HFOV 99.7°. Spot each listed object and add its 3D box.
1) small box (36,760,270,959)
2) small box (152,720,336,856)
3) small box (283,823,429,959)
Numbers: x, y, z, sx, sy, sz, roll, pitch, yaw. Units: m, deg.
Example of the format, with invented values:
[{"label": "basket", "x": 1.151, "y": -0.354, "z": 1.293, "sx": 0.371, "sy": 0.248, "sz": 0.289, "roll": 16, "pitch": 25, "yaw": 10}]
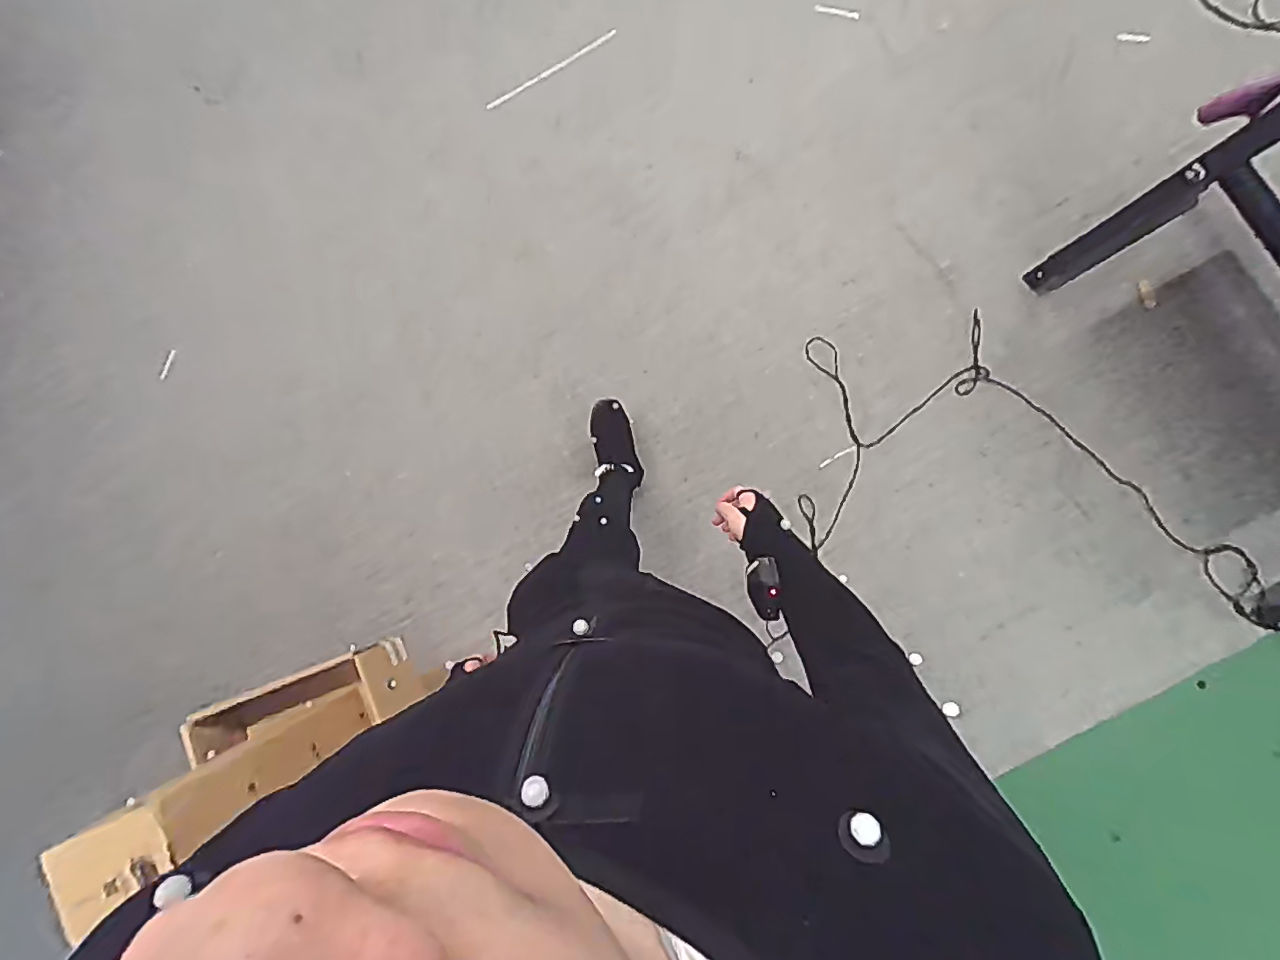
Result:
[{"label": "small box", "x": -0.686, "y": 0.547, "z": 0.789, "sx": 0.179, "sy": 0.176, "sz": 0.168, "roll": -24, "pitch": 86, "yaw": 1}, {"label": "small box", "x": -0.685, "y": 0.559, "z": 0.953, "sx": 0.179, "sy": 0.176, "sz": 0.168, "roll": -24, "pitch": 86, "yaw": 0}, {"label": "small box", "x": -0.562, "y": 0.841, "z": 1.091, "sx": 0.179, "sy": 0.176, "sz": 0.168, "roll": -22, "pitch": 86, "yaw": 2}]
